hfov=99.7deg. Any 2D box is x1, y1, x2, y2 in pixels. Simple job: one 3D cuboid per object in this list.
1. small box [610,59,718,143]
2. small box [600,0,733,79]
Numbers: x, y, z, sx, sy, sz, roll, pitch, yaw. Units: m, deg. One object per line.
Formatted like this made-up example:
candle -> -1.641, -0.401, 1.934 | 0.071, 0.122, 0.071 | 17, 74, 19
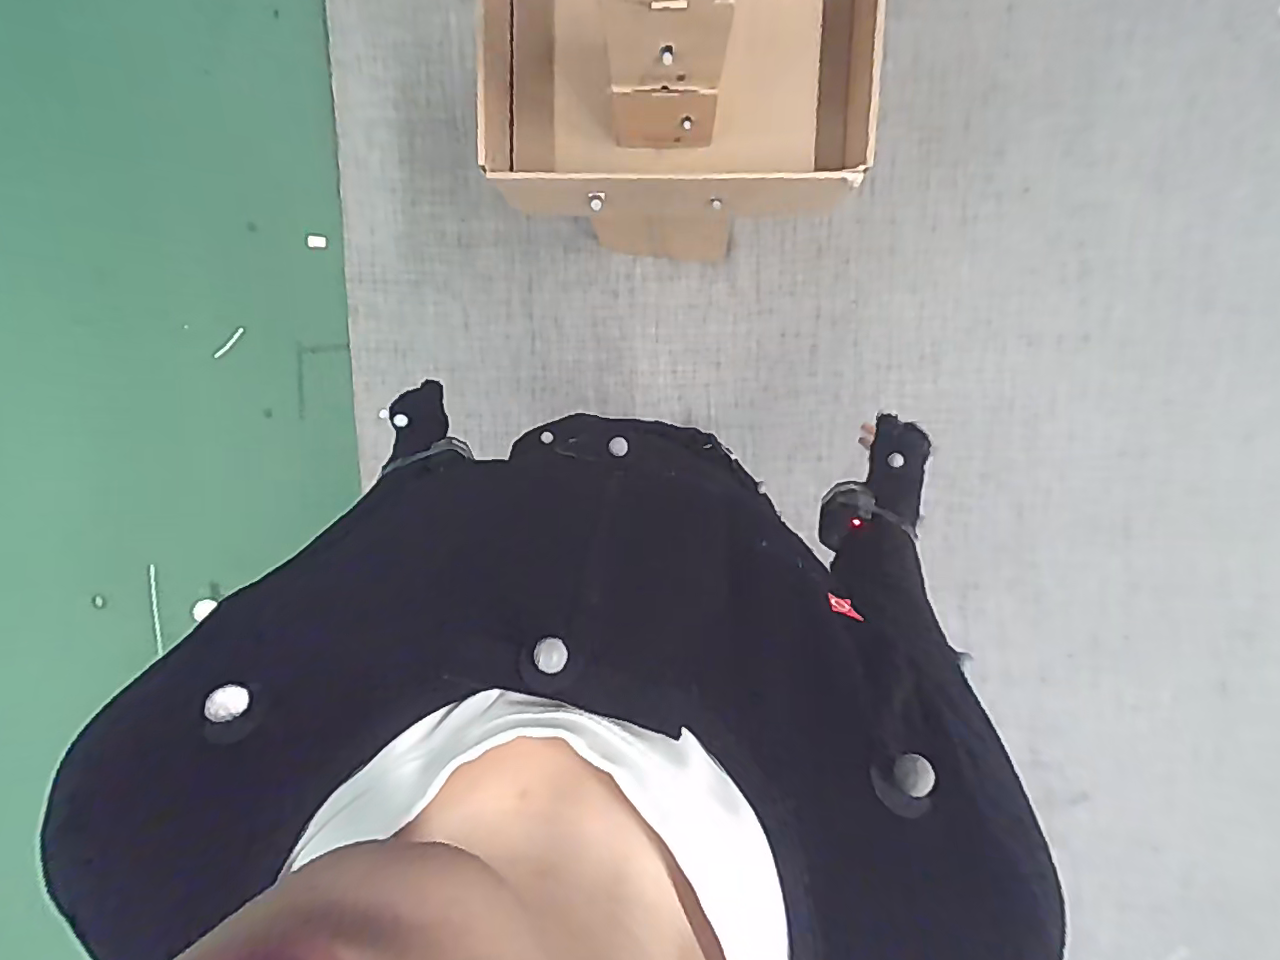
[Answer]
small box -> 0.041, -0.680, 0.882 | 0.168, 0.176, 0.179 | 0, 95, 1
small box -> 0.037, -0.670, 0.719 | 0.168, 0.176, 0.179 | 1, 97, 1
